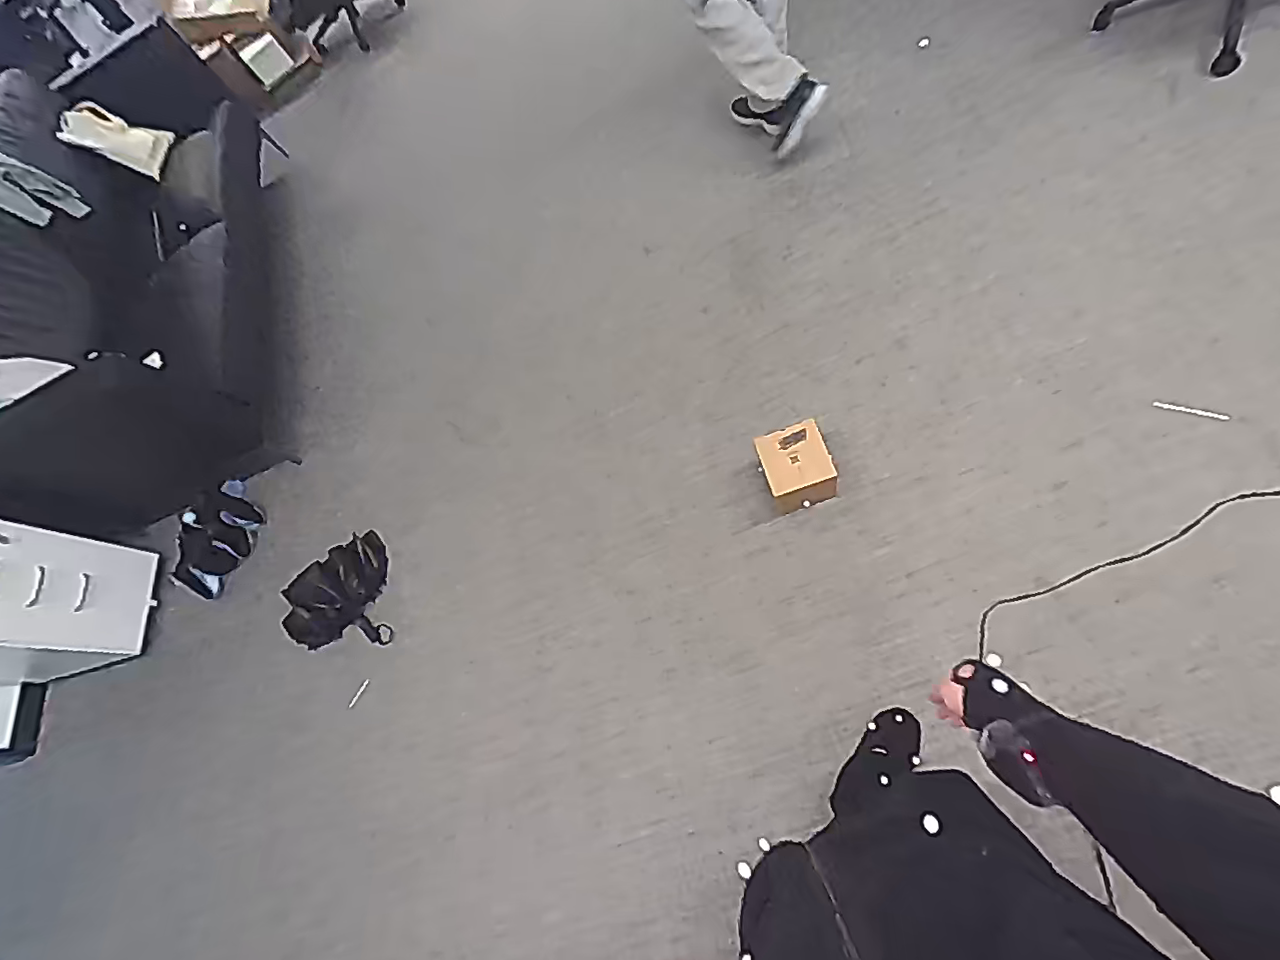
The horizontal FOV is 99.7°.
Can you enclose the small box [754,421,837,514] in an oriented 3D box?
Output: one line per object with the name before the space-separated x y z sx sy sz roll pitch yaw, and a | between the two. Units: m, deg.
small box | 0.422 -0.028 1.470 0.168 0.176 0.179 -20 66 13
